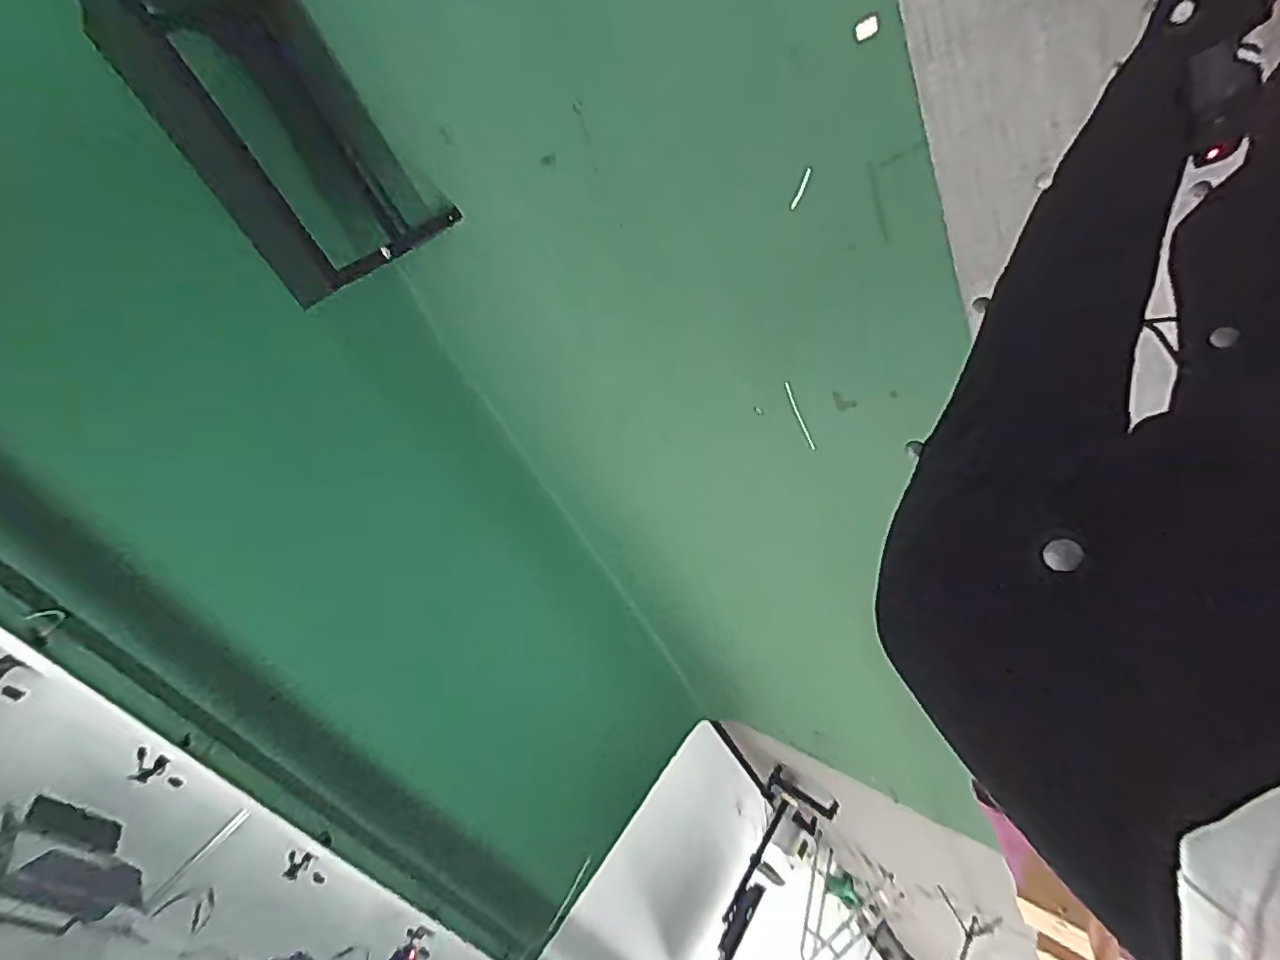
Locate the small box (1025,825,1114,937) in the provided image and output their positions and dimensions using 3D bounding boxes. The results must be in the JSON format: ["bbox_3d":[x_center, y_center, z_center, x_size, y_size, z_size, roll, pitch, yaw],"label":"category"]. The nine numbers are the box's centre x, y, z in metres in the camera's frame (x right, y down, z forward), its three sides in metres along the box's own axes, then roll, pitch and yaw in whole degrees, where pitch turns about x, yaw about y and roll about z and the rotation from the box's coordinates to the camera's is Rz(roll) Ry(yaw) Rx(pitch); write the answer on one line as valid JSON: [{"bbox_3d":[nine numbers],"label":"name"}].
[{"bbox_3d":[1.246,1.152,1.564,0.168,0.176,0.179,4,133,51],"label":"small box"}]

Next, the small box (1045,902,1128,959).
[{"bbox_3d":[1.419,1.423,1.714,0.168,0.176,0.179,-1,129,51],"label":"small box"}]
